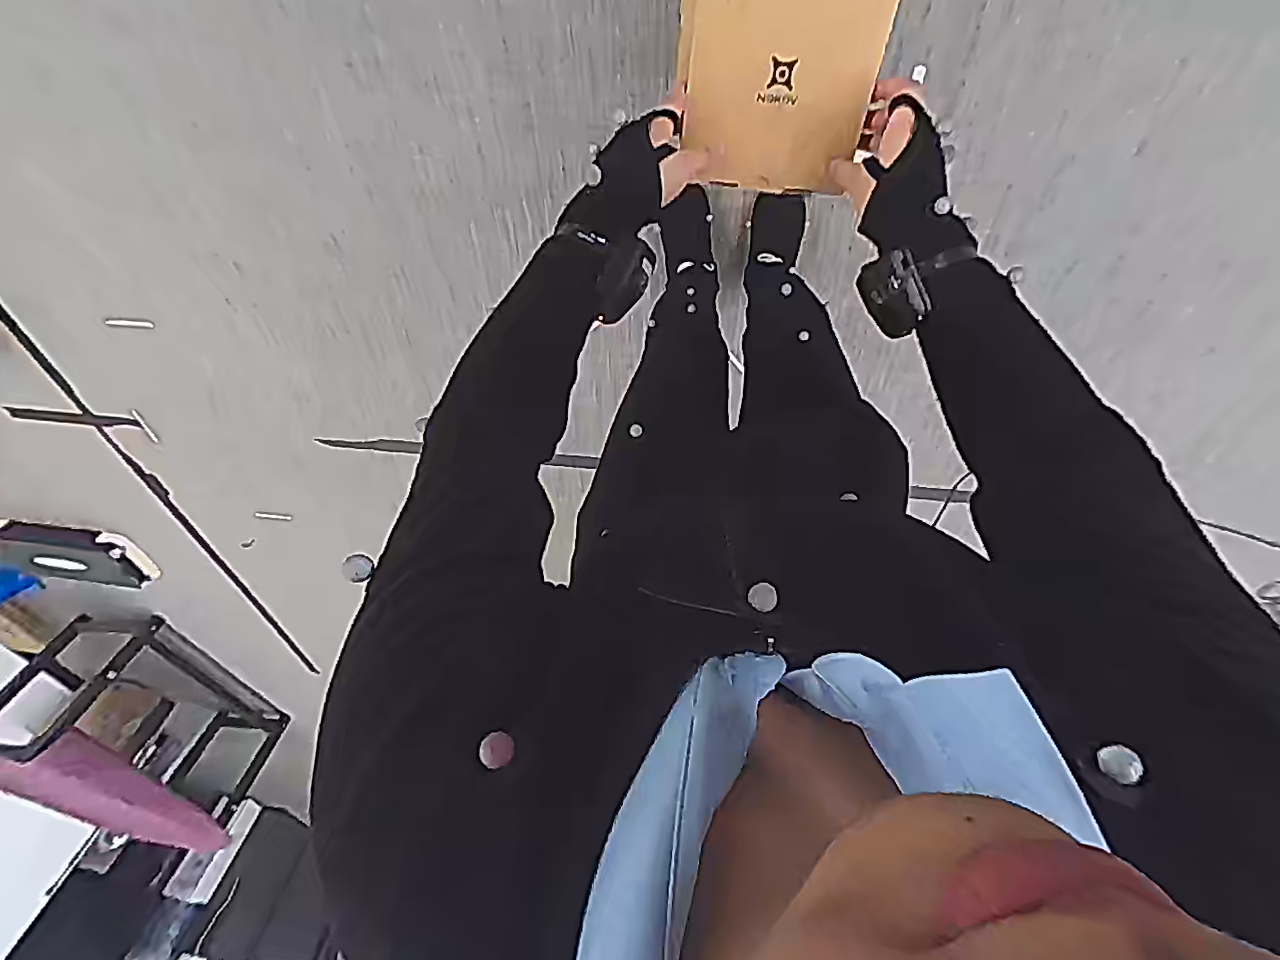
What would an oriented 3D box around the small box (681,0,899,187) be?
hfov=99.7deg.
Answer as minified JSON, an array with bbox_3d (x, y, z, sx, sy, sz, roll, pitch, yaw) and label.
[{"bbox_3d":[0.131,-0.410,0.529,0.168,0.176,0.179,5,134,2],"label":"small box"}]
